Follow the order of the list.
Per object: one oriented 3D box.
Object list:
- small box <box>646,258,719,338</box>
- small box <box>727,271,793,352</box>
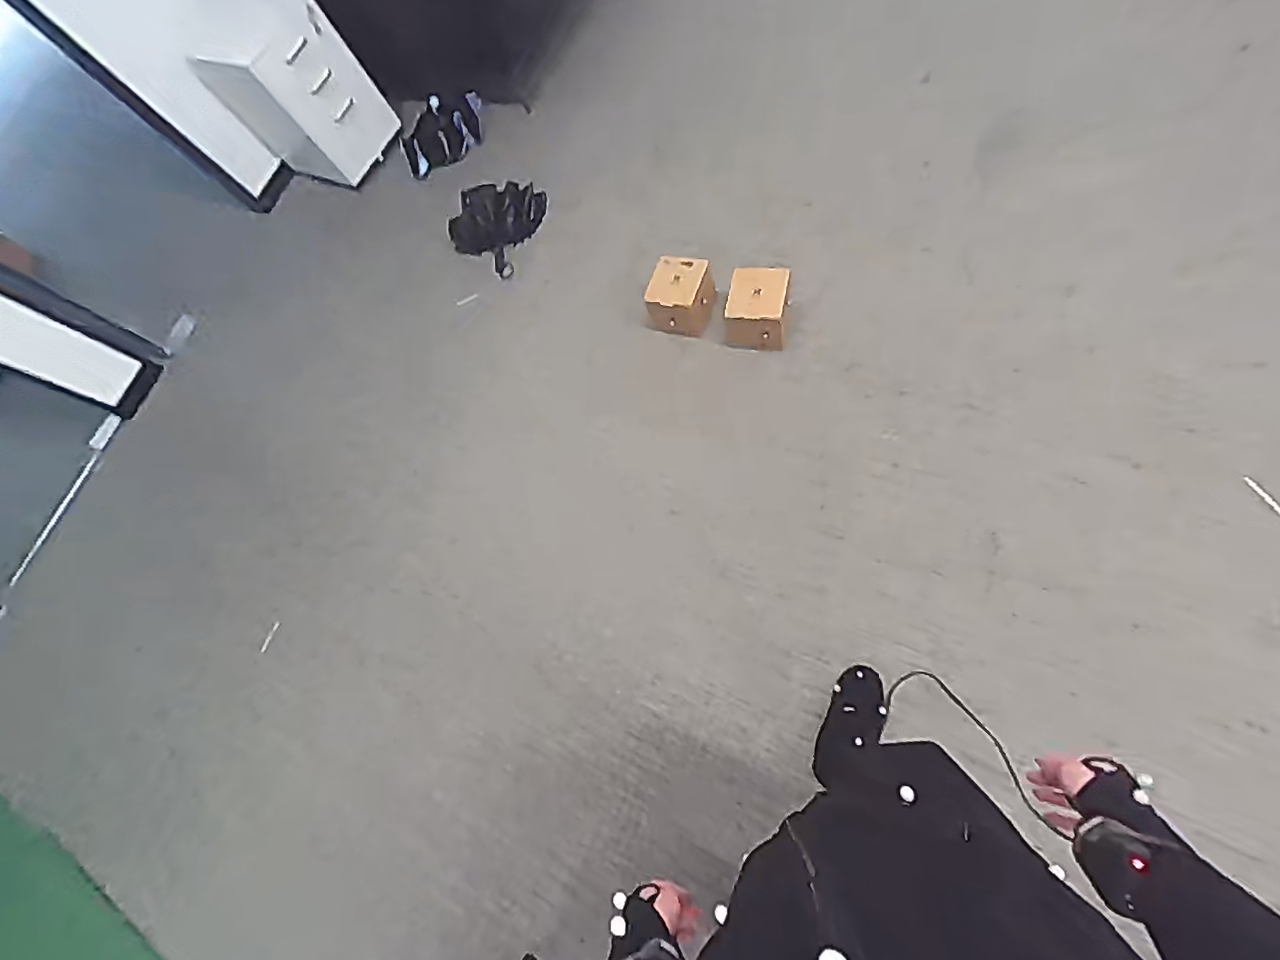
[{"bbox_3d":[0.144,-0.583,1.744,0.168,0.176,0.179,16,76,23],"label":"small box"},{"bbox_3d":[0.370,-0.509,1.645,0.168,0.176,0.179,8,71,19],"label":"small box"}]
